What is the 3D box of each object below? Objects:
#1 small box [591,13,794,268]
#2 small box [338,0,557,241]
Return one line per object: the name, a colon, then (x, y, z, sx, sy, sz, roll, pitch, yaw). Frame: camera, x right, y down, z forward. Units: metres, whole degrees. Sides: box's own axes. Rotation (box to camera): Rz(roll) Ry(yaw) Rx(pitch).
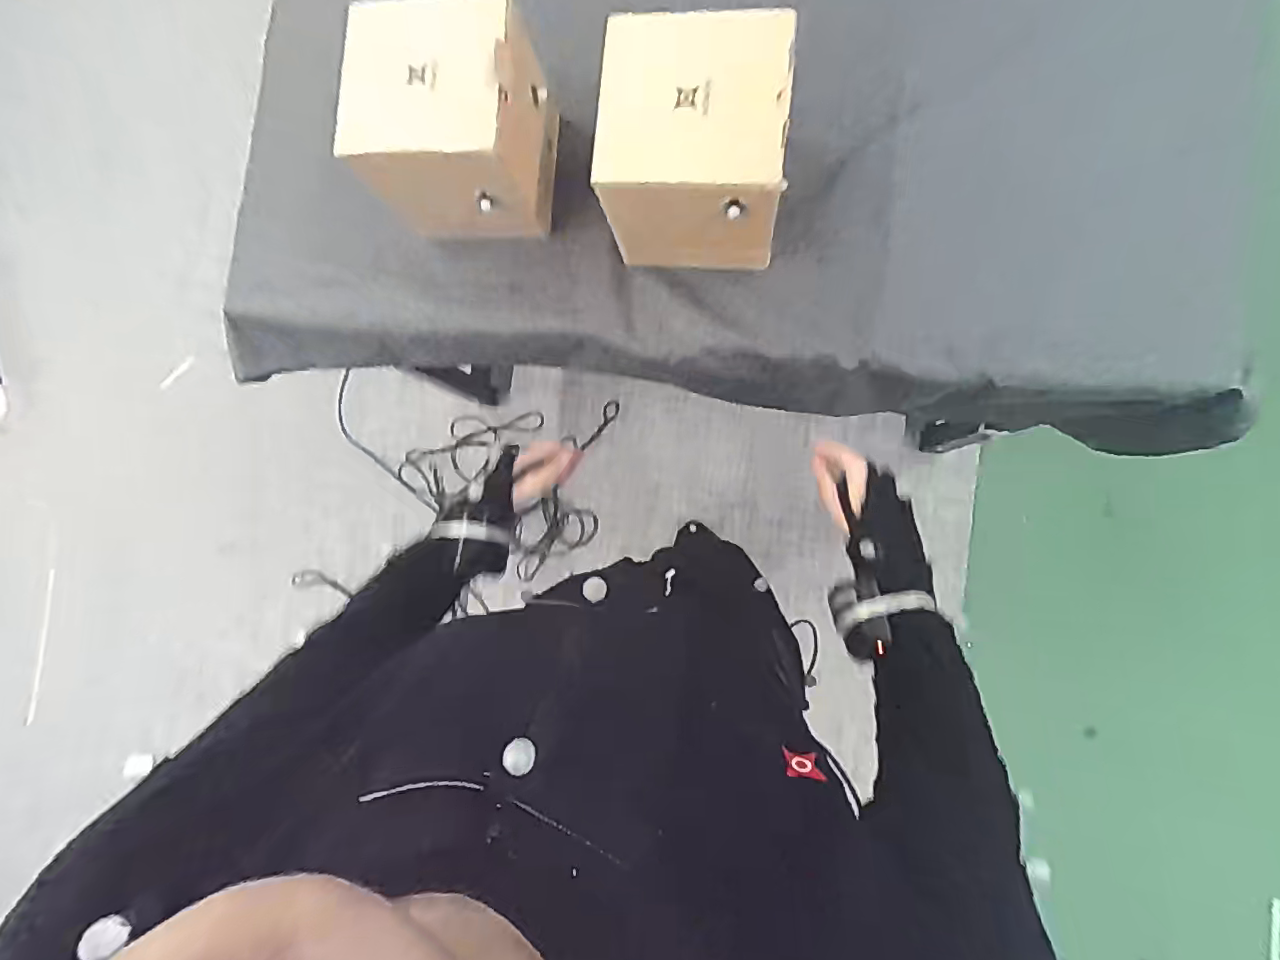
small box: (0.059, -0.343, 0.576, 0.179, 0.176, 0.168, 5, 86, 8)
small box: (-0.203, -0.394, 0.619, 0.179, 0.176, 0.168, 3, 85, 10)
